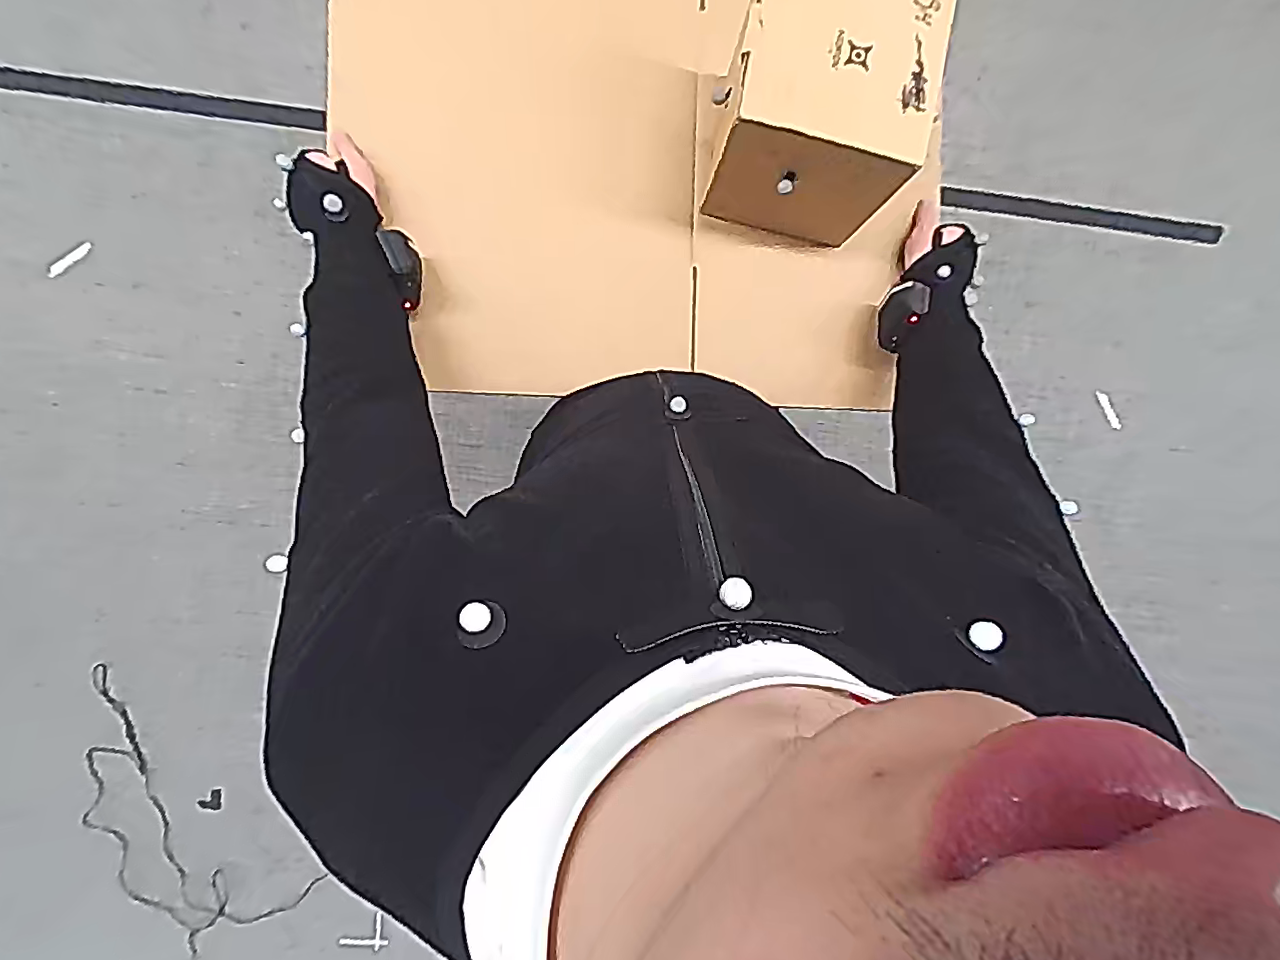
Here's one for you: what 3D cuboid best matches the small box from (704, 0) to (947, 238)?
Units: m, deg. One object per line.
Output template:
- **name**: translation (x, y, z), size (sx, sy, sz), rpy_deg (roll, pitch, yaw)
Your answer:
- **small box**: translation (0.174, -0.379, 0.564), size (0.179, 0.176, 0.168), rpy_deg (11, 89, -4)
